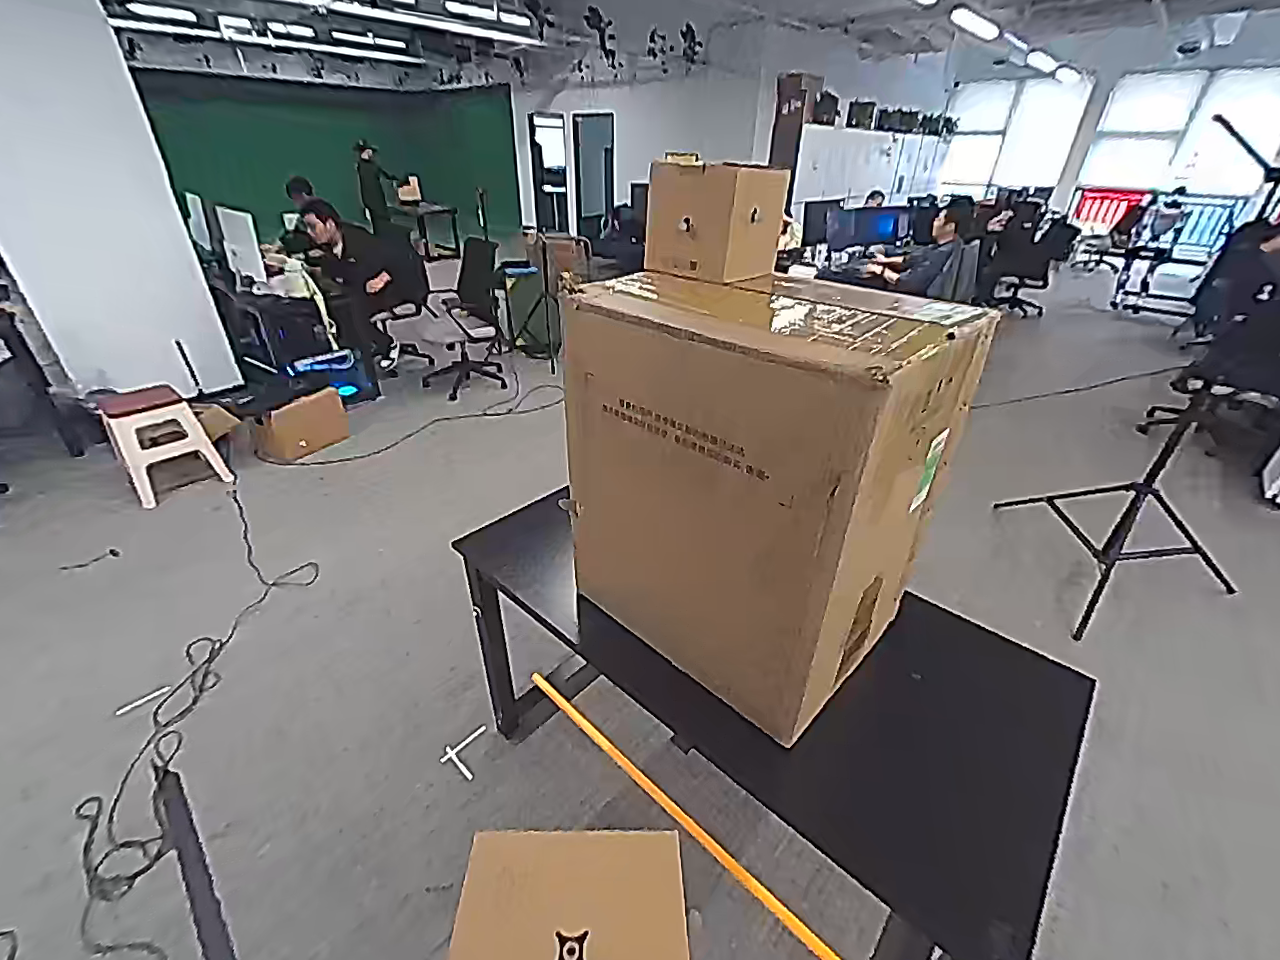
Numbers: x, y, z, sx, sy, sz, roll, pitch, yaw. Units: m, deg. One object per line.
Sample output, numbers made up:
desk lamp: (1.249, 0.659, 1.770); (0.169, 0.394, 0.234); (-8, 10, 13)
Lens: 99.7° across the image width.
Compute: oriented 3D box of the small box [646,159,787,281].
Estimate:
small box: (0.125, -0.440, 0.911); (0.168, 0.176, 0.179); (24, 37, 32)

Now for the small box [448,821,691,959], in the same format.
small box: (-0.051, 0.390, 0.402); (0.168, 0.176, 0.179); (1, 30, -2)
